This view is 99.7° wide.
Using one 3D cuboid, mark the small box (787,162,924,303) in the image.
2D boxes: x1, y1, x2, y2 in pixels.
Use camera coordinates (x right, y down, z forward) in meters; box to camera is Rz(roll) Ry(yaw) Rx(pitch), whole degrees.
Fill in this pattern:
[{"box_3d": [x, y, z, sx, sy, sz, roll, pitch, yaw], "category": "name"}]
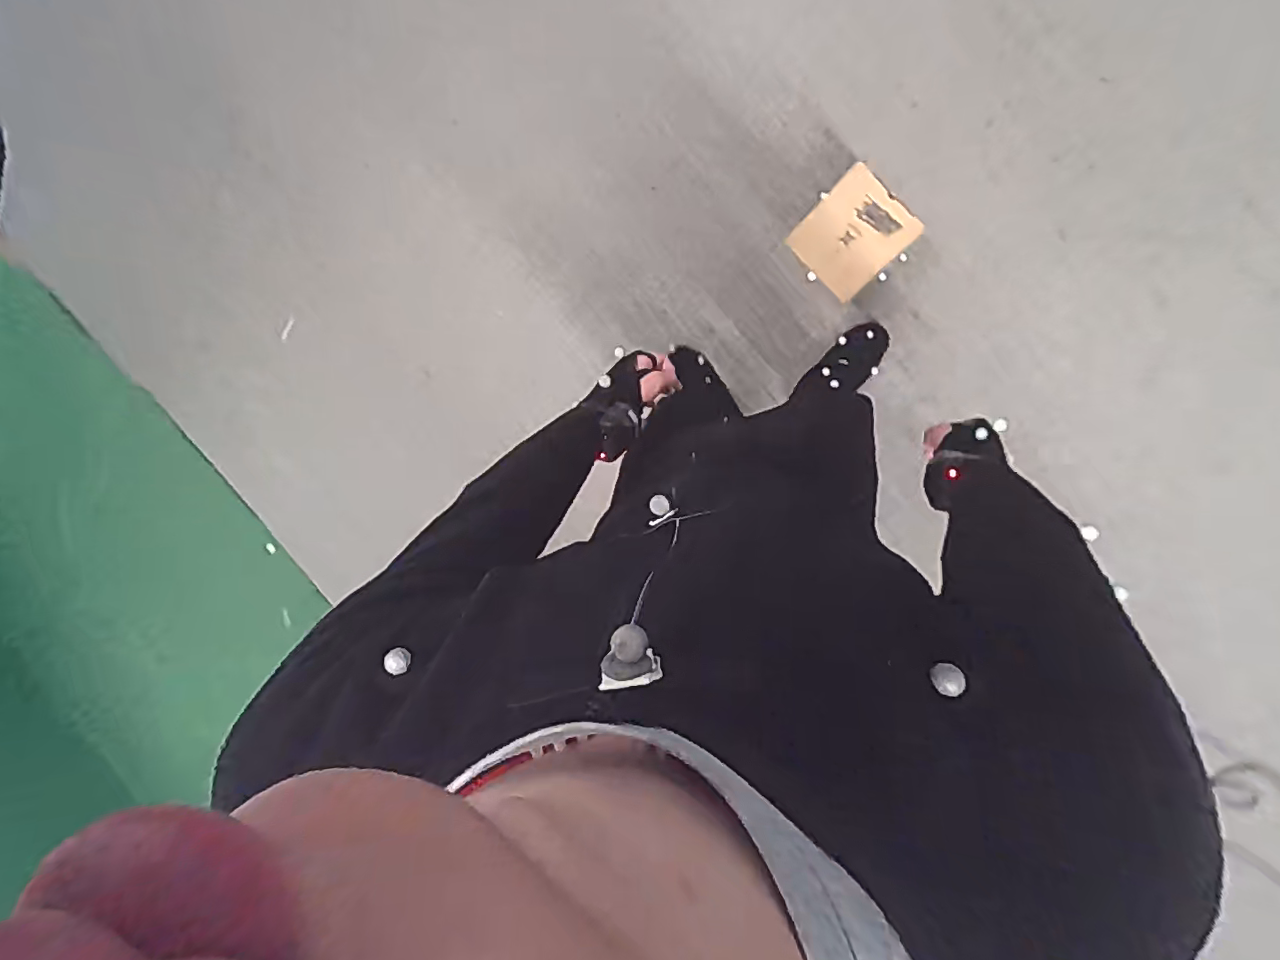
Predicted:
[{"box_3d": [0.410, -0.466, 1.043, 0.168, 0.176, 0.179, 48, 119, 2], "category": "small box"}]
